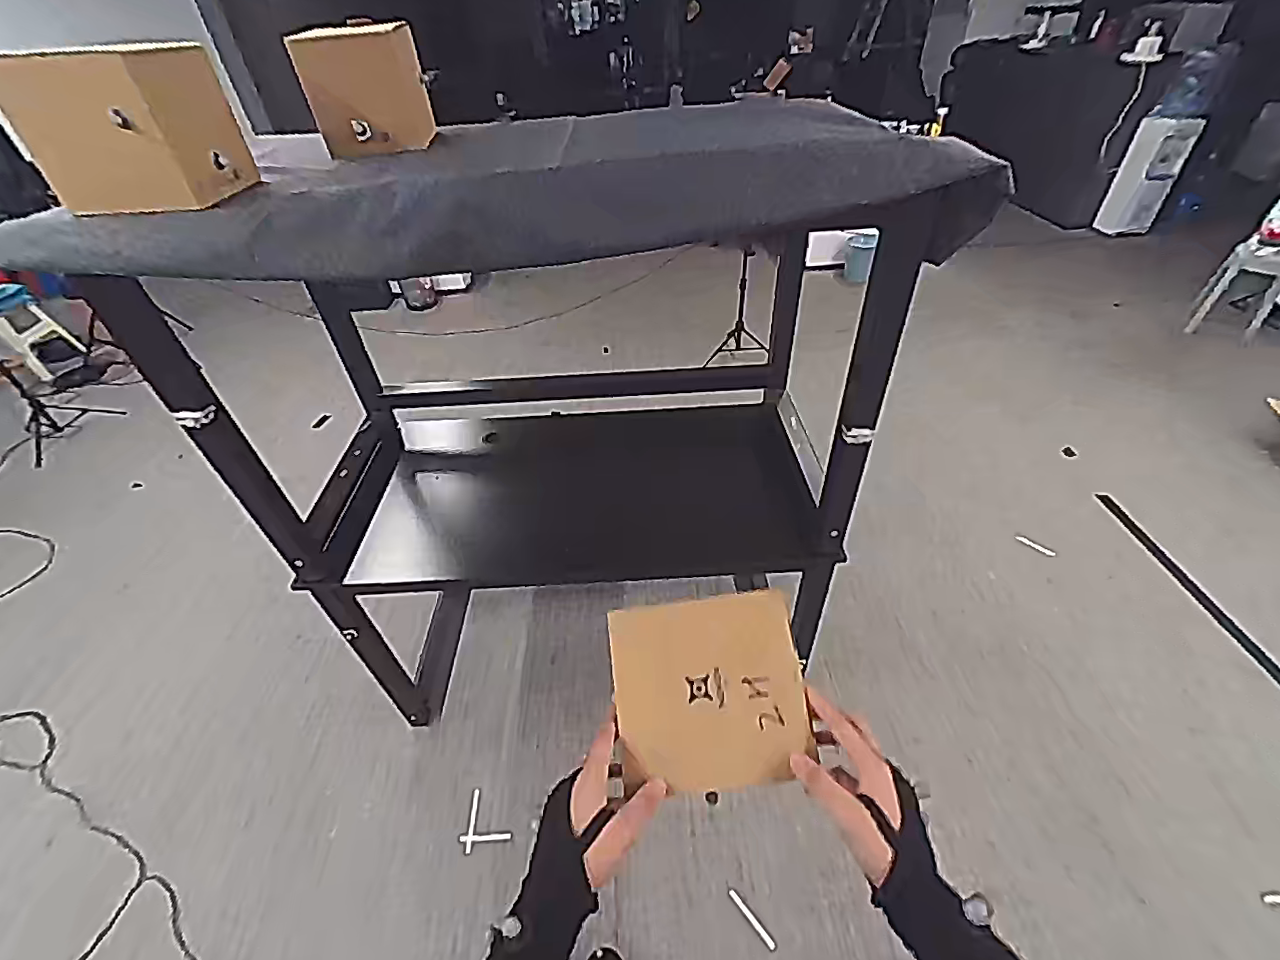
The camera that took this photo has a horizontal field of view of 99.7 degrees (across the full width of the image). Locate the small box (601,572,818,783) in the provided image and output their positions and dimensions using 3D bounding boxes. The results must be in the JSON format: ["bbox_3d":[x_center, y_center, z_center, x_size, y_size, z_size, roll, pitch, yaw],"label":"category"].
[{"bbox_3d":[0.065,0.203,0.560,0.179,0.176,0.168,-8,68,2],"label":"small box"}]

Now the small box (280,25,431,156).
[{"bbox_3d":[-0.482,-0.684,0.950,0.168,0.176,0.179,-9,42,-4],"label":"small box"}]
